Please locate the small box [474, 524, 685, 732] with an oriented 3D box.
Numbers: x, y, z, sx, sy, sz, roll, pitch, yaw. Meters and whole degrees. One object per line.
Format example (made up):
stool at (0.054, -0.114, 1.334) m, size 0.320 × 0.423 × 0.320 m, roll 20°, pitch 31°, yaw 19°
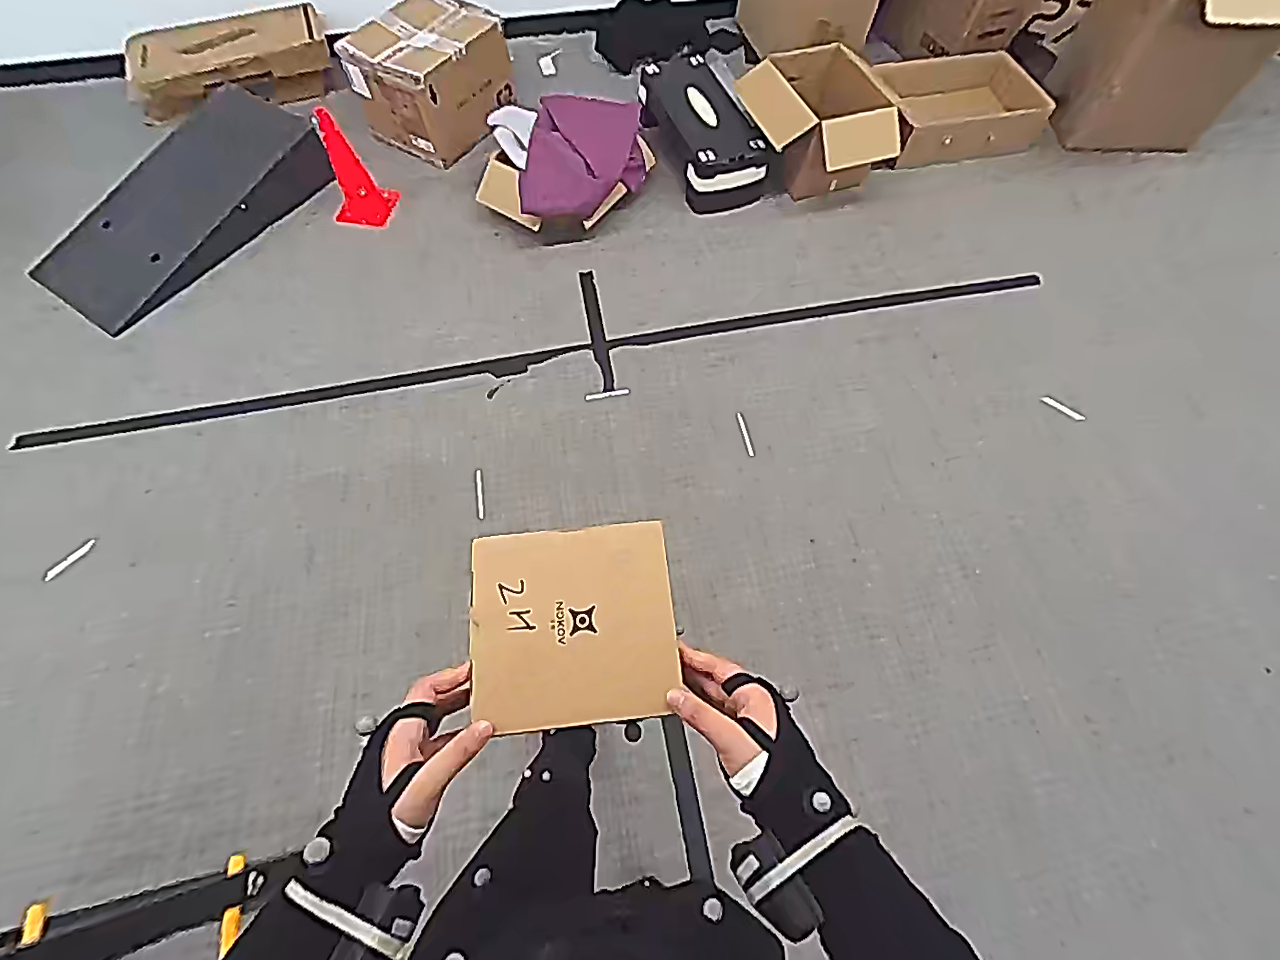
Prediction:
small box at (-0.057, 0.154, 0.546) m, size 0.179 × 0.176 × 0.168 m, roll -6°, pitch 66°, yaw -3°
